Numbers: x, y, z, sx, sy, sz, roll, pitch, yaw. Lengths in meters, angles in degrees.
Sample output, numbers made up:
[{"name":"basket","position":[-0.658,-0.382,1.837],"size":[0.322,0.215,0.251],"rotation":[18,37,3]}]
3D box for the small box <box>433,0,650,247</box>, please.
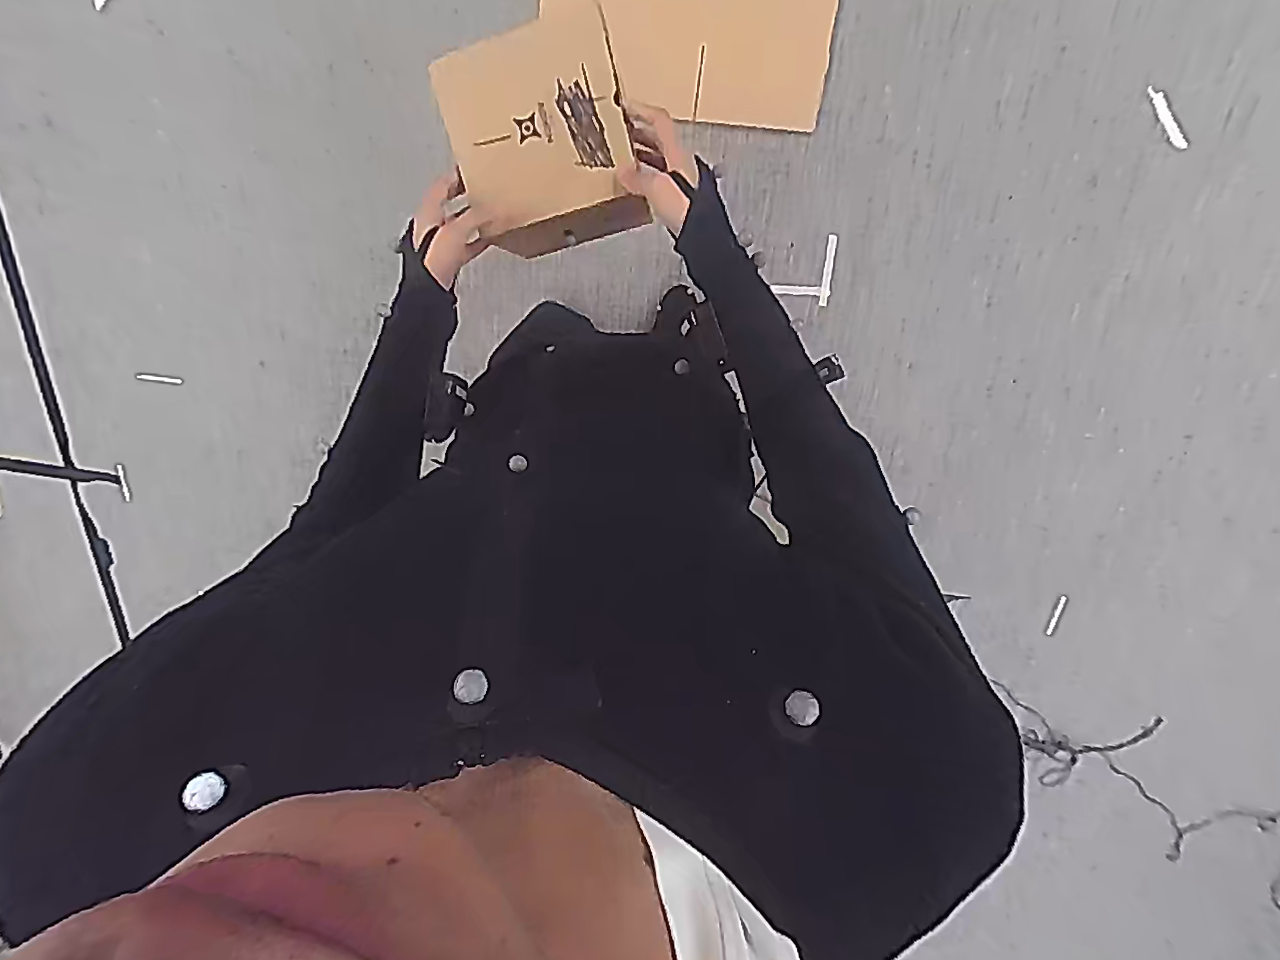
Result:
[{"name":"small box","position":[-0.089,-0.372,0.597],"size":[0.179,0.176,0.168],"rotation":[-12,105,9]}]
